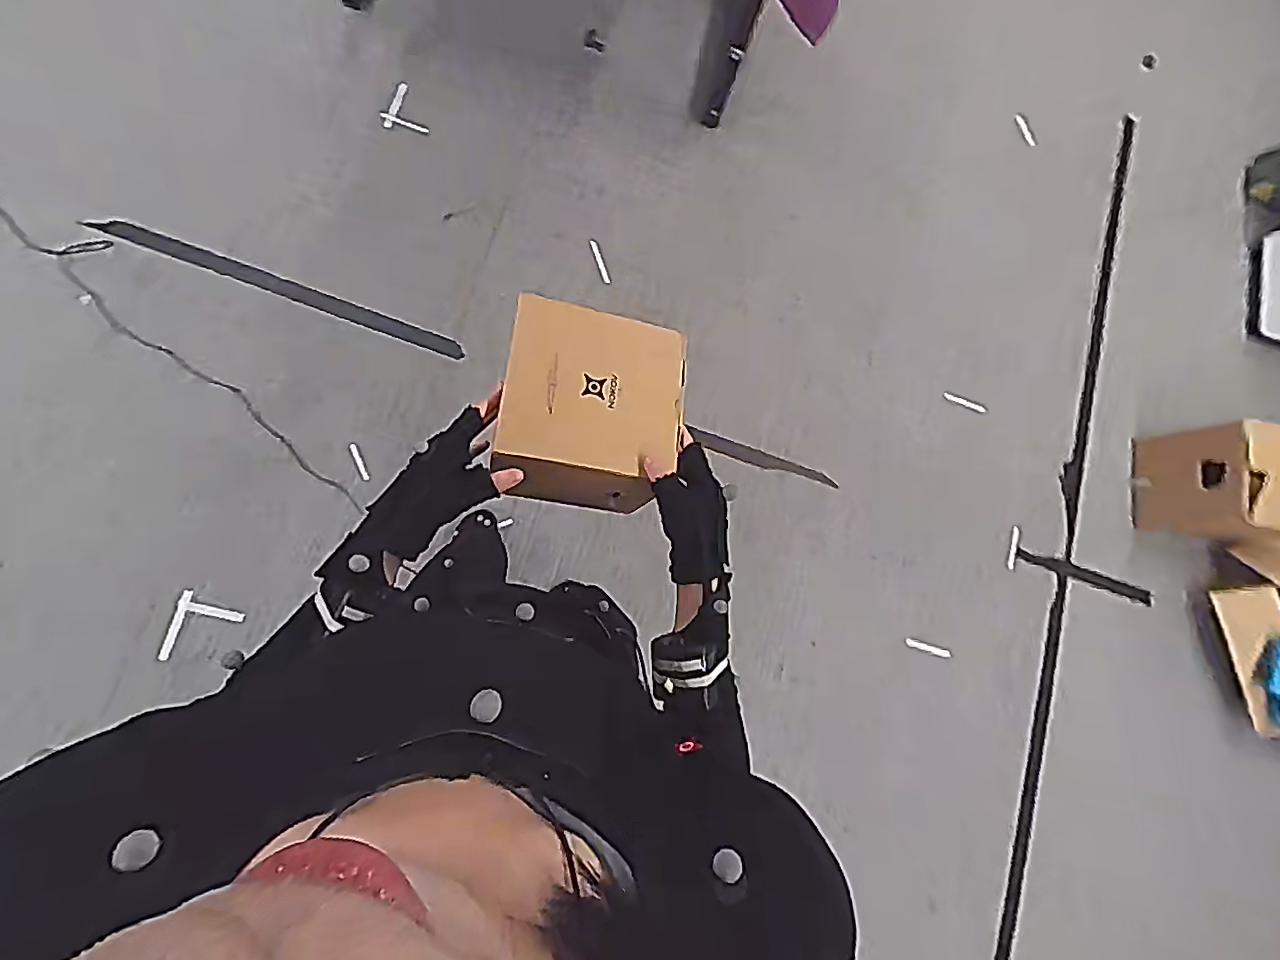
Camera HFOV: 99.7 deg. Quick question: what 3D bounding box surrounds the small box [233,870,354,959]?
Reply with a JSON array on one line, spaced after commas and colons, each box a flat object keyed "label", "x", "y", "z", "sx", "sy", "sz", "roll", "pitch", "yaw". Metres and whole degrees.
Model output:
[{"label": "small box", "x": -0.757, "y": 1.004, "z": 1.179, "sx": 0.168, "sy": 0.176, "sz": 0.179, "roll": 17, "pitch": 80, "yaw": -6}]

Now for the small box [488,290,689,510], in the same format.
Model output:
[{"label": "small box", "x": -0.061, "y": -0.069, "z": 0.581, "sx": 0.179, "sy": 0.176, "sz": 0.168, "roll": 9, "pitch": 72, "yaw": -15}]
